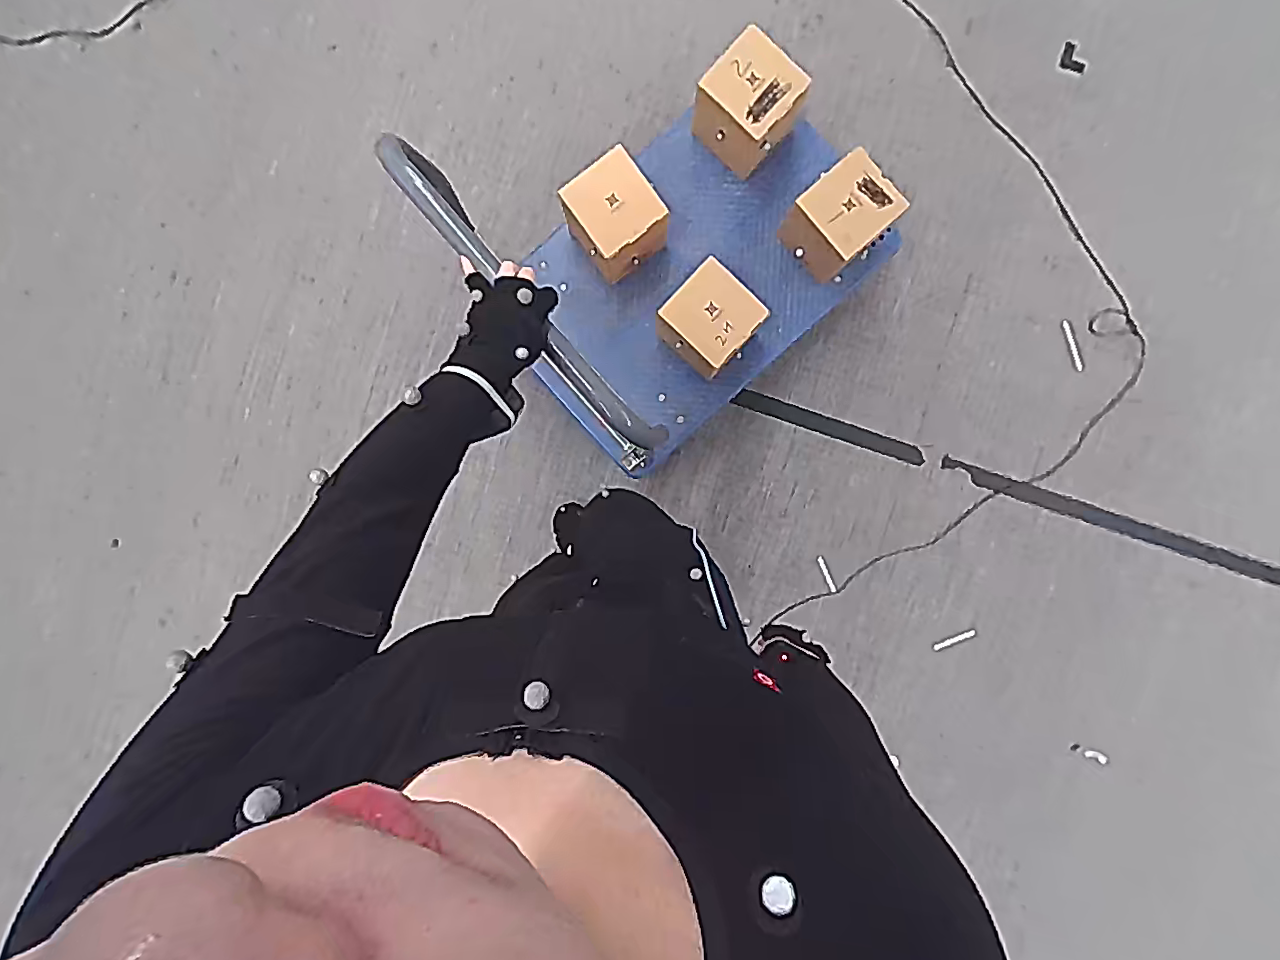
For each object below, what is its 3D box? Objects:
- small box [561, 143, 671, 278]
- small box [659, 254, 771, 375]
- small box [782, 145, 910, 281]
[{"bbox_3d":[-0.051,-0.583,1.195,0.168,0.176,0.179,-37,93,1],"label":"small box"},{"bbox_3d":[0.156,-0.355,1.201,0.179,0.176,0.168,44,92,-1],"label":"small box"},{"bbox_3d":[0.442,-0.575,1.190,0.179,0.176,0.168,-40,91,3],"label":"small box"}]
